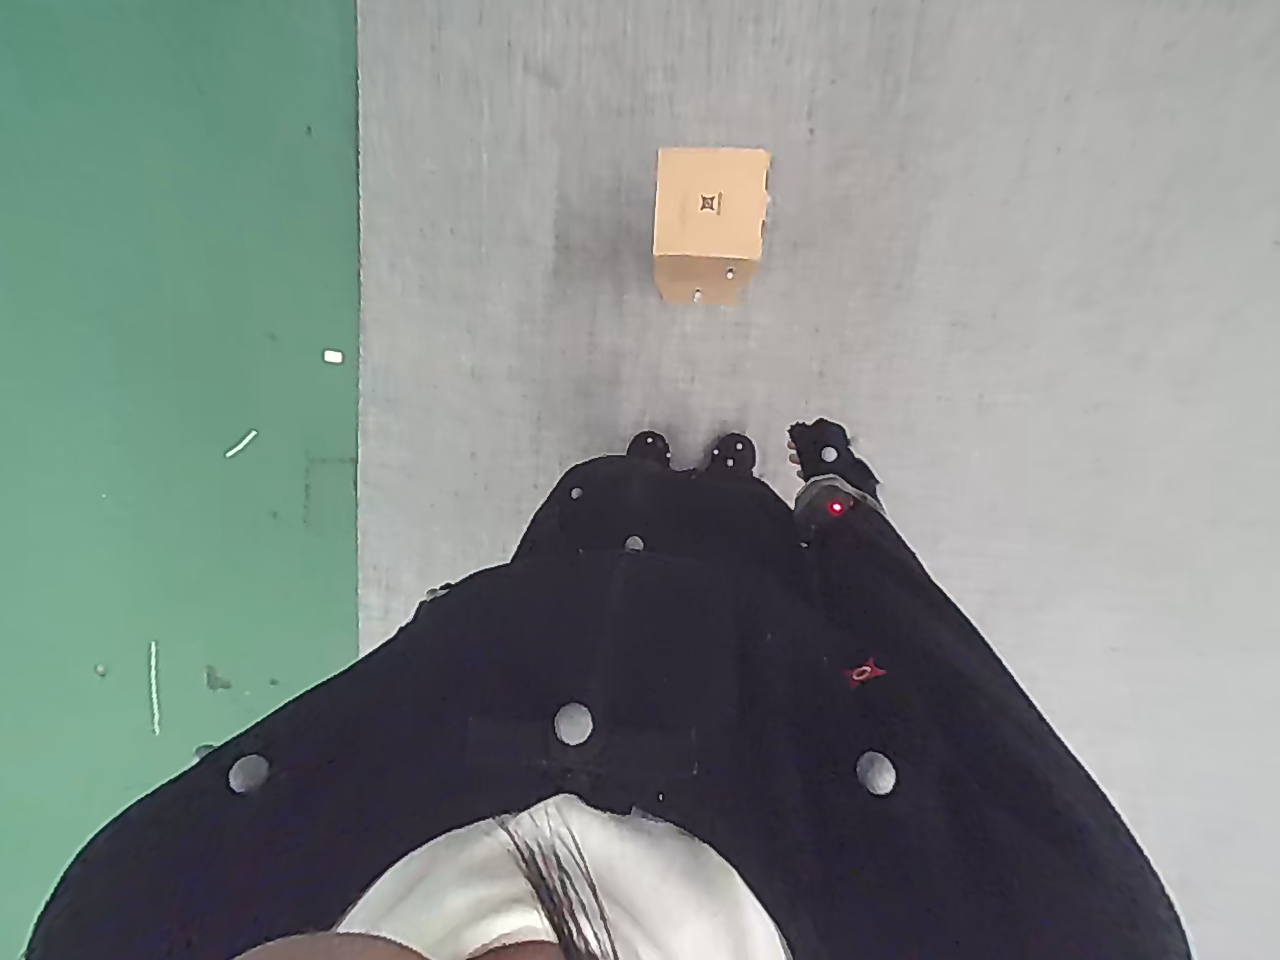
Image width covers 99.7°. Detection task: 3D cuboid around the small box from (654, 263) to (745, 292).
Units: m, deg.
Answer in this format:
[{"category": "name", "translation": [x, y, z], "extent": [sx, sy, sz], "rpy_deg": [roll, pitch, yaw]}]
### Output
[{"category": "small box", "translation": [0.125, -0.482, 1.100], "extent": [0.179, 0.176, 0.168], "rpy_deg": [4, 100, 6]}]

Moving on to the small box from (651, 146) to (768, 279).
[{"category": "small box", "translation": [0.118, -0.453, 0.937], "extent": [0.179, 0.176, 0.168], "rpy_deg": [4, 98, 6]}]

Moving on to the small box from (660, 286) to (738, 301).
[{"category": "small box", "translation": [0.142, -0.518, 1.256], "extent": [0.179, 0.176, 0.168], "rpy_deg": [5, 99, 6]}]
